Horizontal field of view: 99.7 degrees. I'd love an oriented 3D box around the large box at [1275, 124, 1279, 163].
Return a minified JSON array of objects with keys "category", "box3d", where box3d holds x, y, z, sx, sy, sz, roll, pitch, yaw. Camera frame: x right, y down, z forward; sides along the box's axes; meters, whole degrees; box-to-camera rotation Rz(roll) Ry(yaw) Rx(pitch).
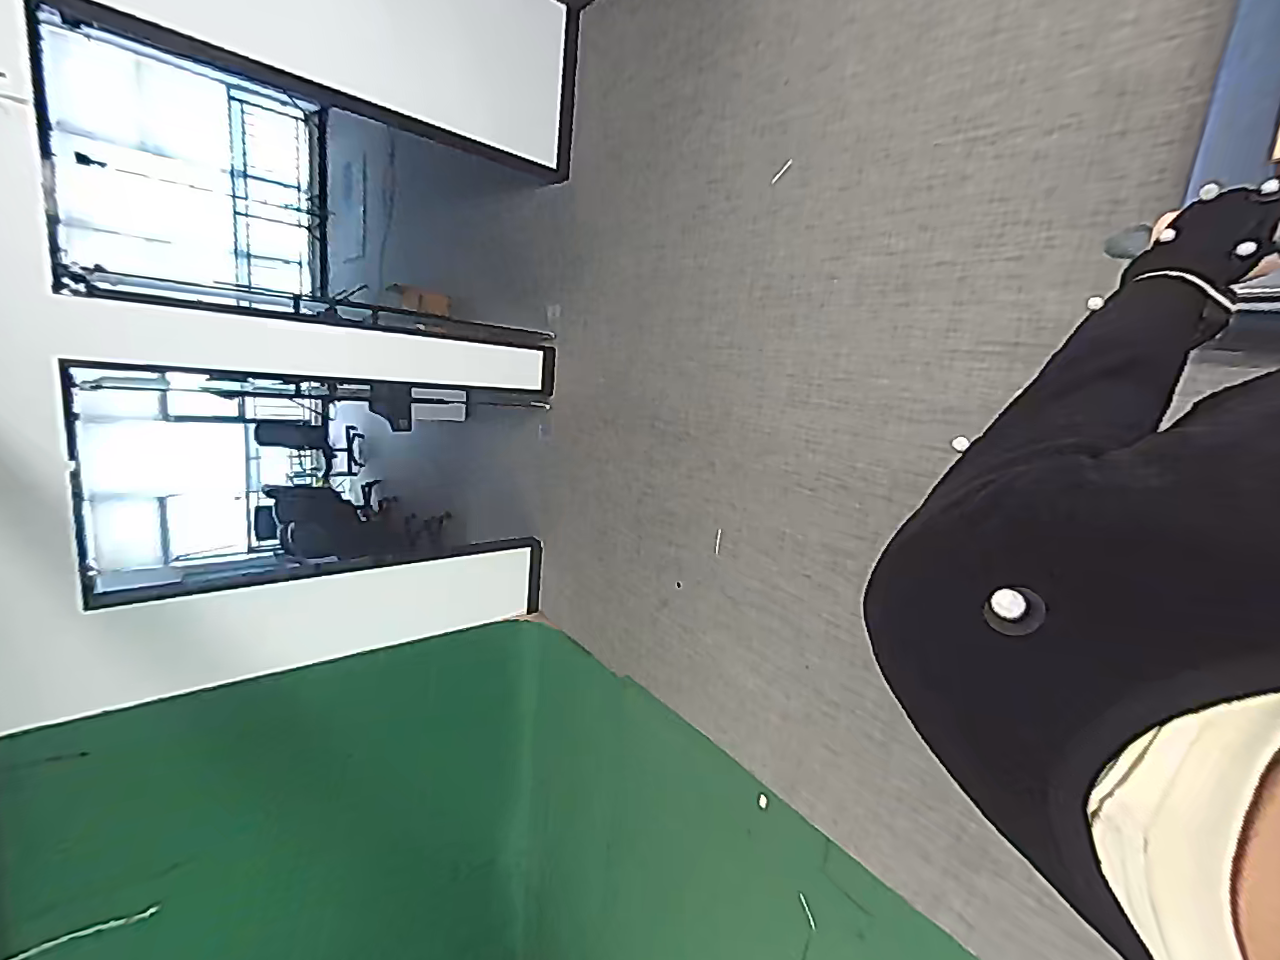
[{"category":"large box","box3d":[1.139,-0.636,0.725,0.320,0.320,0.408,15,104,50]}]
